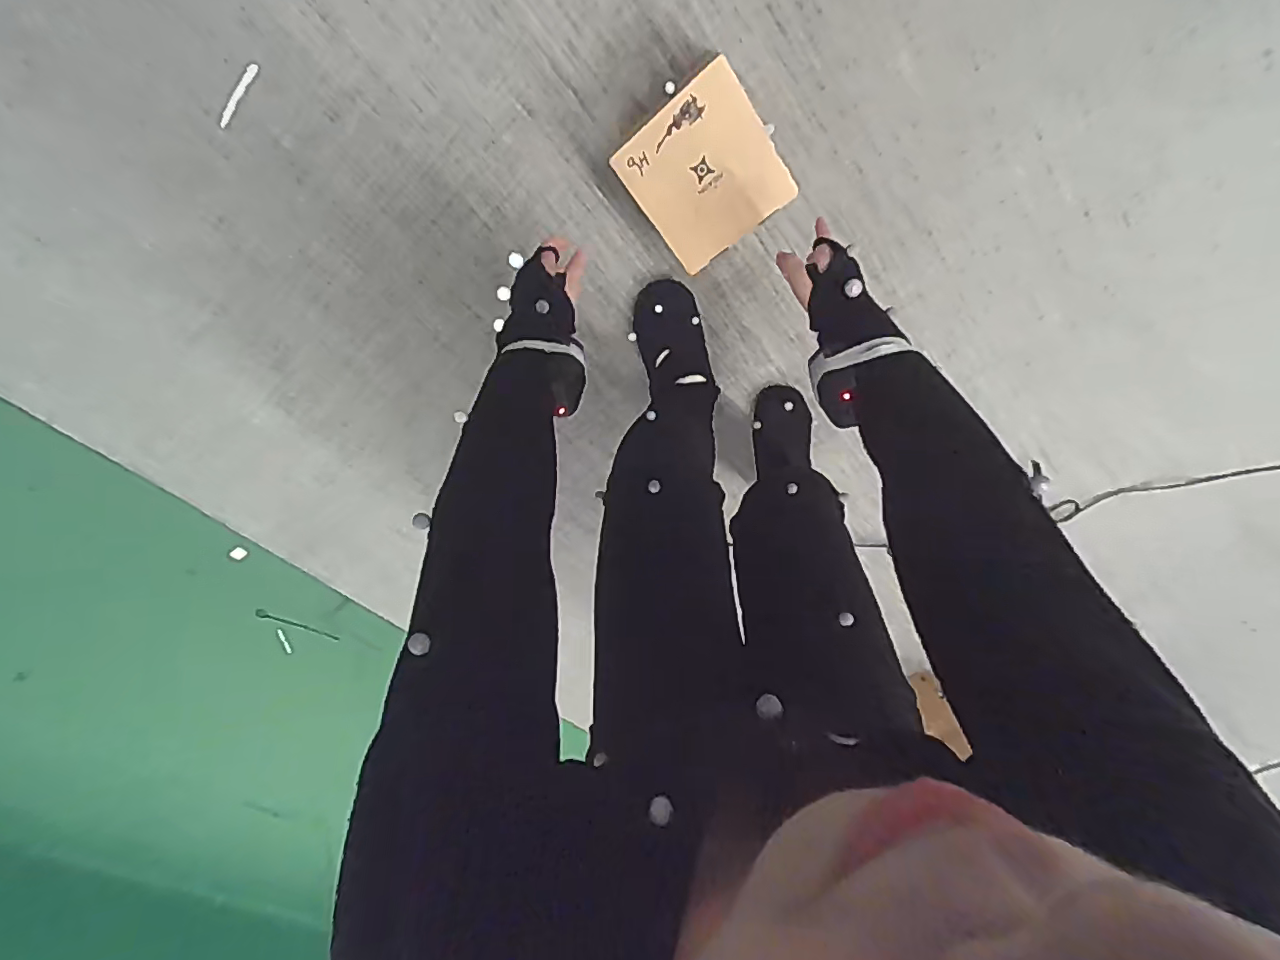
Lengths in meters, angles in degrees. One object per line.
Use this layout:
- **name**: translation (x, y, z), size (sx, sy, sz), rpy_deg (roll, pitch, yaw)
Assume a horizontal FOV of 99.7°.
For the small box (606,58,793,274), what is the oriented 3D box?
- **small box**: translation (0.078, -0.416, 0.714), size (0.168, 0.176, 0.179), rpy_deg (-31, 121, 24)
